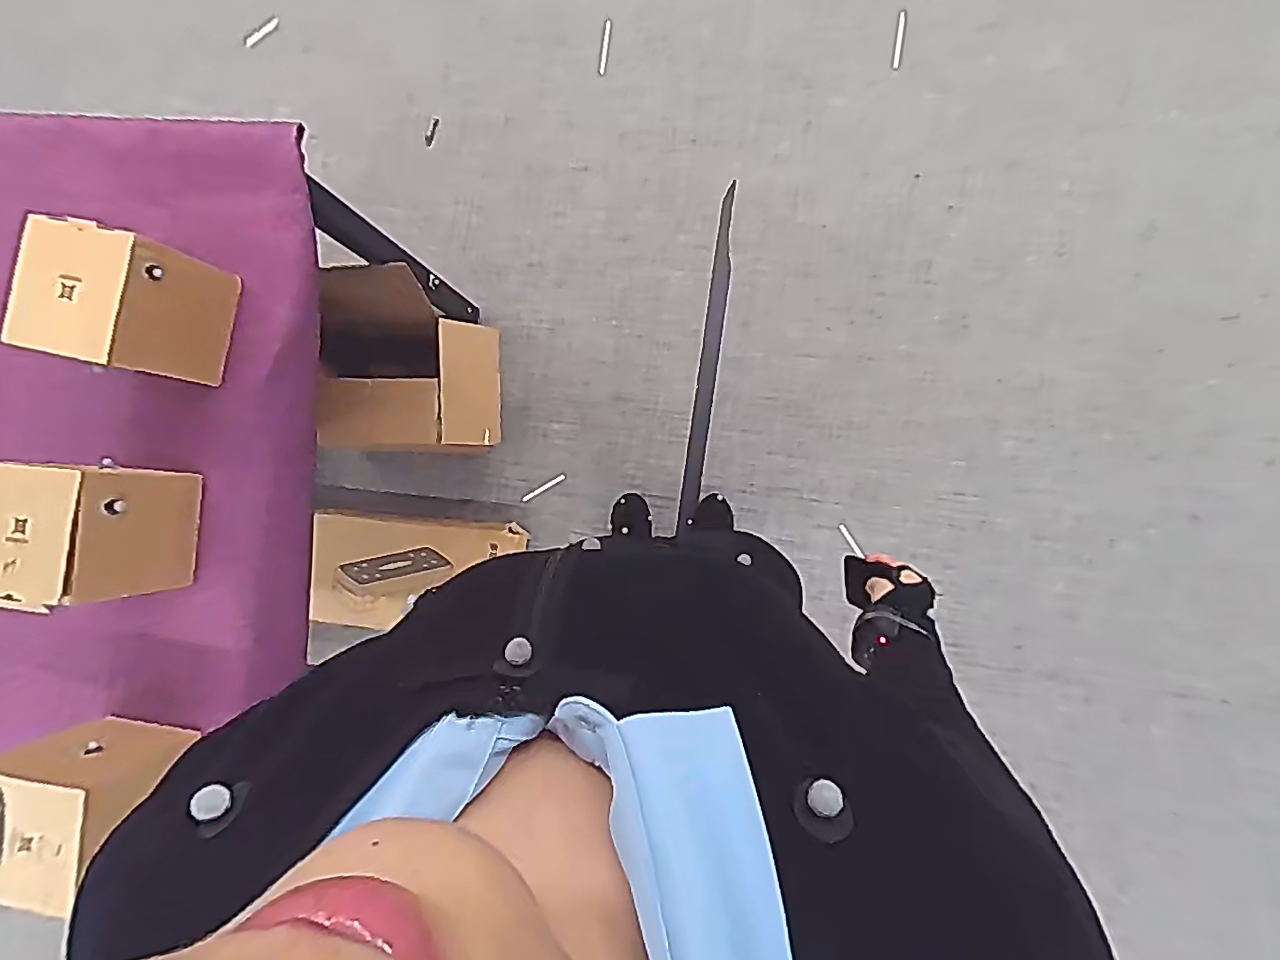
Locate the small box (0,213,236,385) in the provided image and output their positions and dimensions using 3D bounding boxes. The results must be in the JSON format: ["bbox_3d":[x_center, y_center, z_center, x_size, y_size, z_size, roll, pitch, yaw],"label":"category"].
[{"bbox_3d":[-0.726,-0.244,0.771,0.168,0.176,0.179,12,90,7],"label":"small box"}]

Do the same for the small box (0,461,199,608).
[{"bbox_3d":[-0.778,0.070,0.770,0.168,0.176,0.179,5,89,9],"label":"small box"}]
